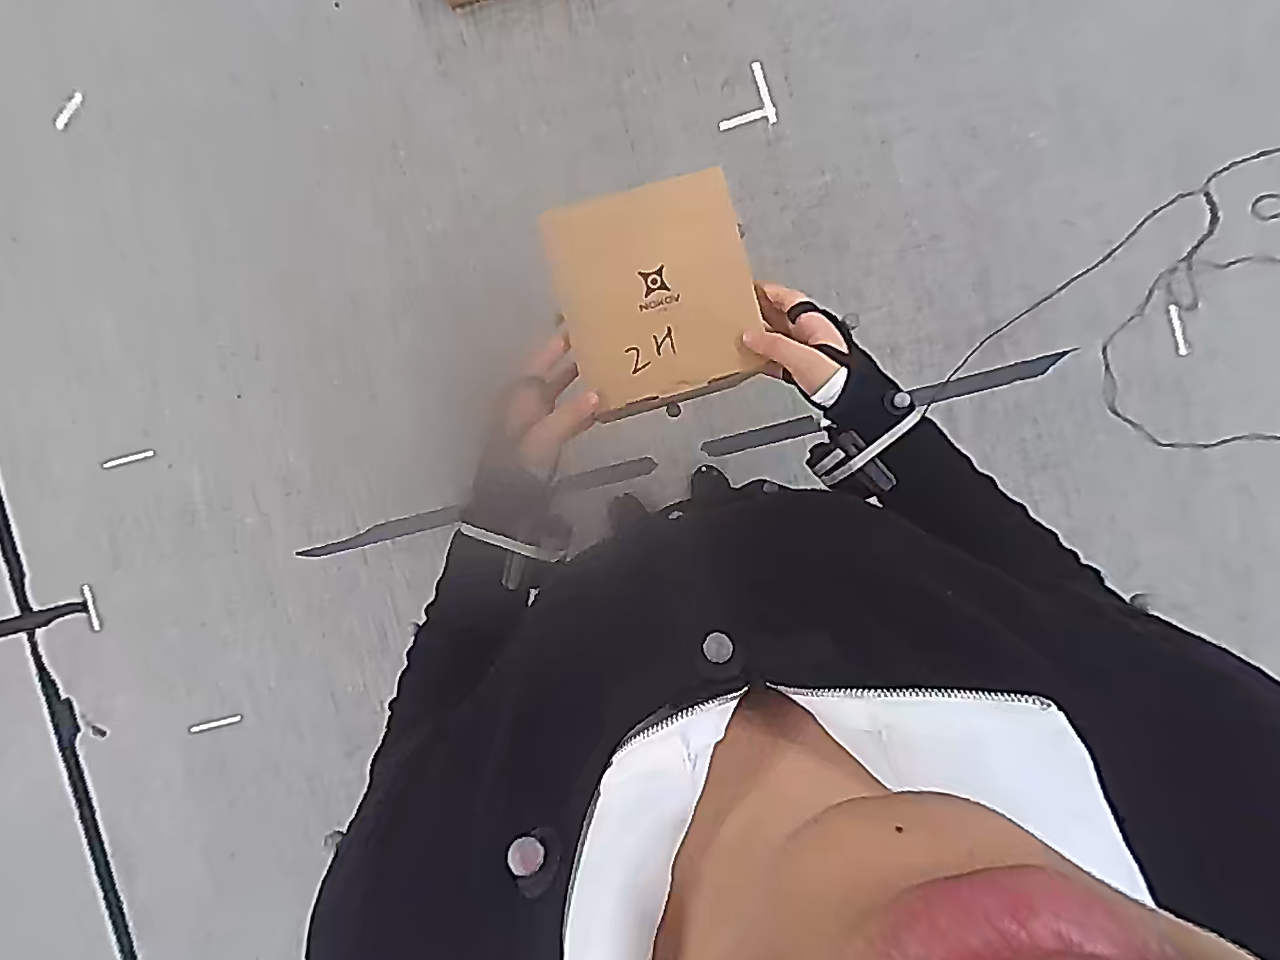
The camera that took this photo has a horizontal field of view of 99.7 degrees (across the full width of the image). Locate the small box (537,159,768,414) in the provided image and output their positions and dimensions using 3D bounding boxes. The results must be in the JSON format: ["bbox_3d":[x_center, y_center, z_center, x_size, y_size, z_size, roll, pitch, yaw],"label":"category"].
[{"bbox_3d":[0.009,-0.173,0.541,0.168,0.176,0.179,-16,94,0],"label":"small box"}]
